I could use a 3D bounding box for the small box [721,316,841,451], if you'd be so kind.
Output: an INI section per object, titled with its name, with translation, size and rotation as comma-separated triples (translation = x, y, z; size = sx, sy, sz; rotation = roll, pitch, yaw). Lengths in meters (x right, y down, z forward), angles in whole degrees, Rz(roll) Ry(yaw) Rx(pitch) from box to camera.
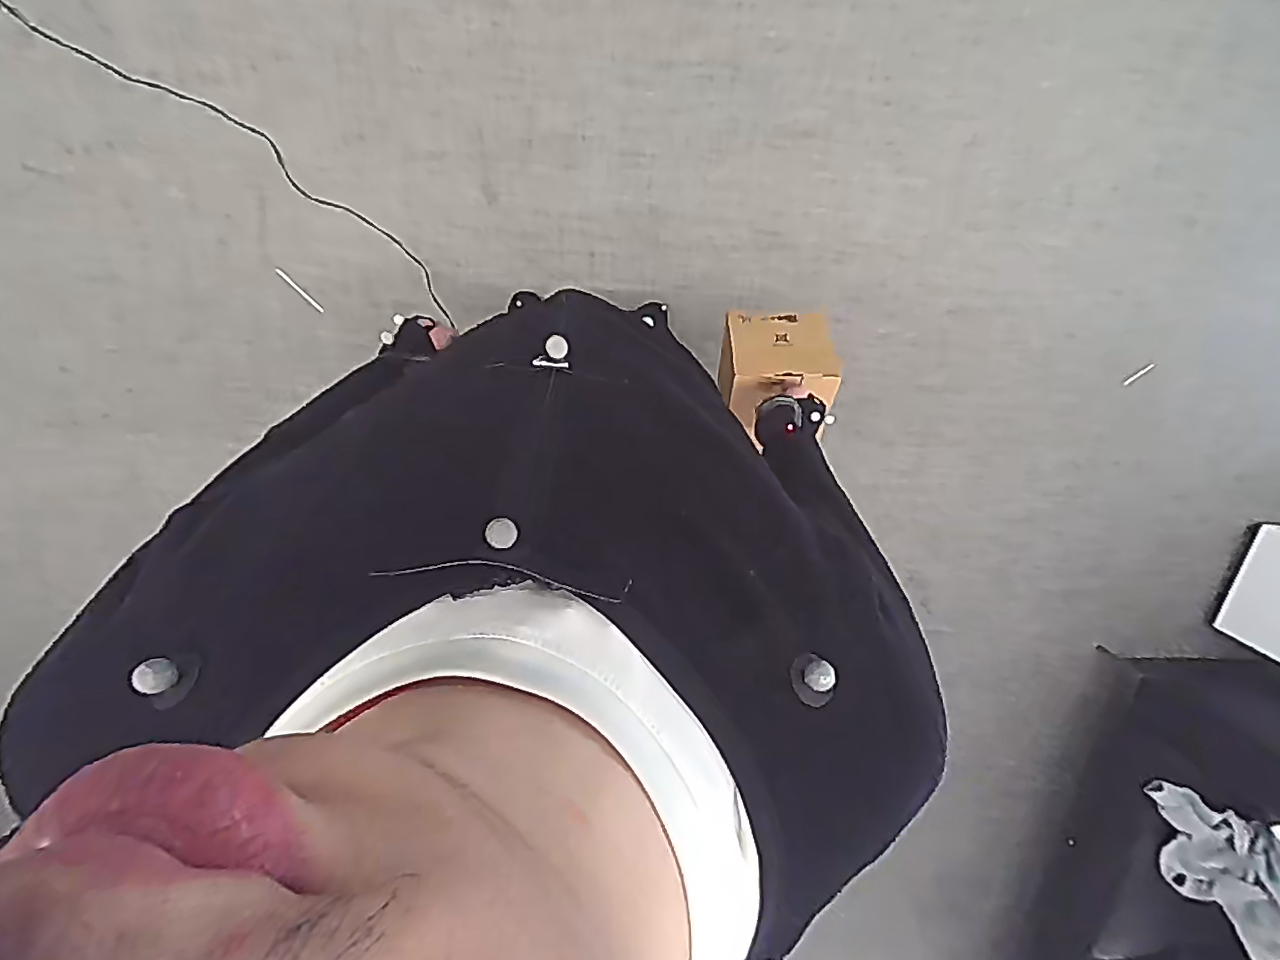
[small box]
translation = 0.234, -0.162, 0.942
size = 0.168, 0.179, 0.176
rotation = -2, 139, 2
